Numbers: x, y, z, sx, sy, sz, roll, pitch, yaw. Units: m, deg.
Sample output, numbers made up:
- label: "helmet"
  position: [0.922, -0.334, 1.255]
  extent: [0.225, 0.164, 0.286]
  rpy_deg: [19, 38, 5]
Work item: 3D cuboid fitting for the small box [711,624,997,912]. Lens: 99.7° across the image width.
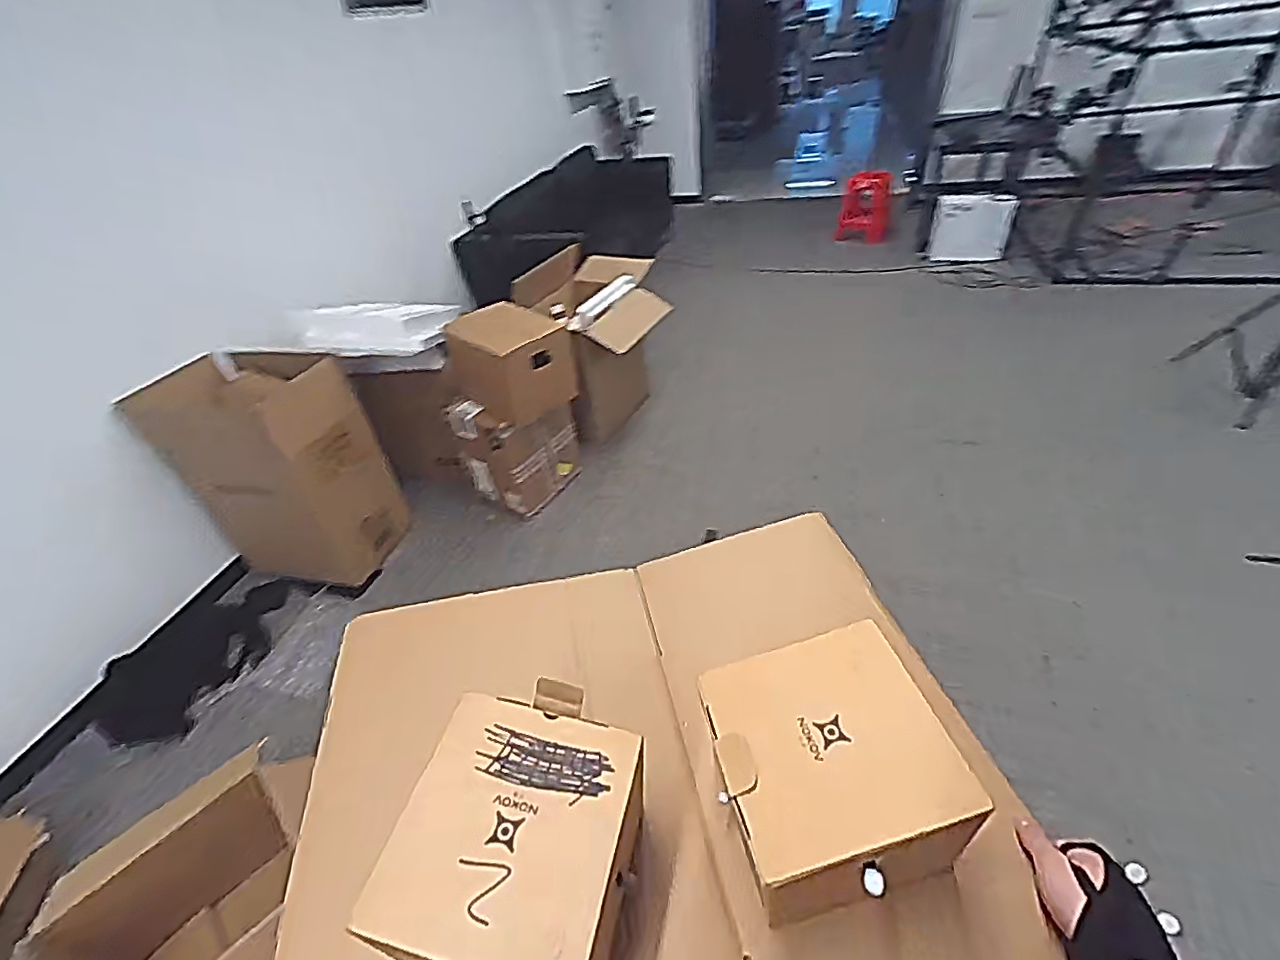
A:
- label: "small box"
  position: [0.180, 0.269, 0.504]
  extent: [0.179, 0.176, 0.168]
  rpy_deg: [-17, 42, -1]
